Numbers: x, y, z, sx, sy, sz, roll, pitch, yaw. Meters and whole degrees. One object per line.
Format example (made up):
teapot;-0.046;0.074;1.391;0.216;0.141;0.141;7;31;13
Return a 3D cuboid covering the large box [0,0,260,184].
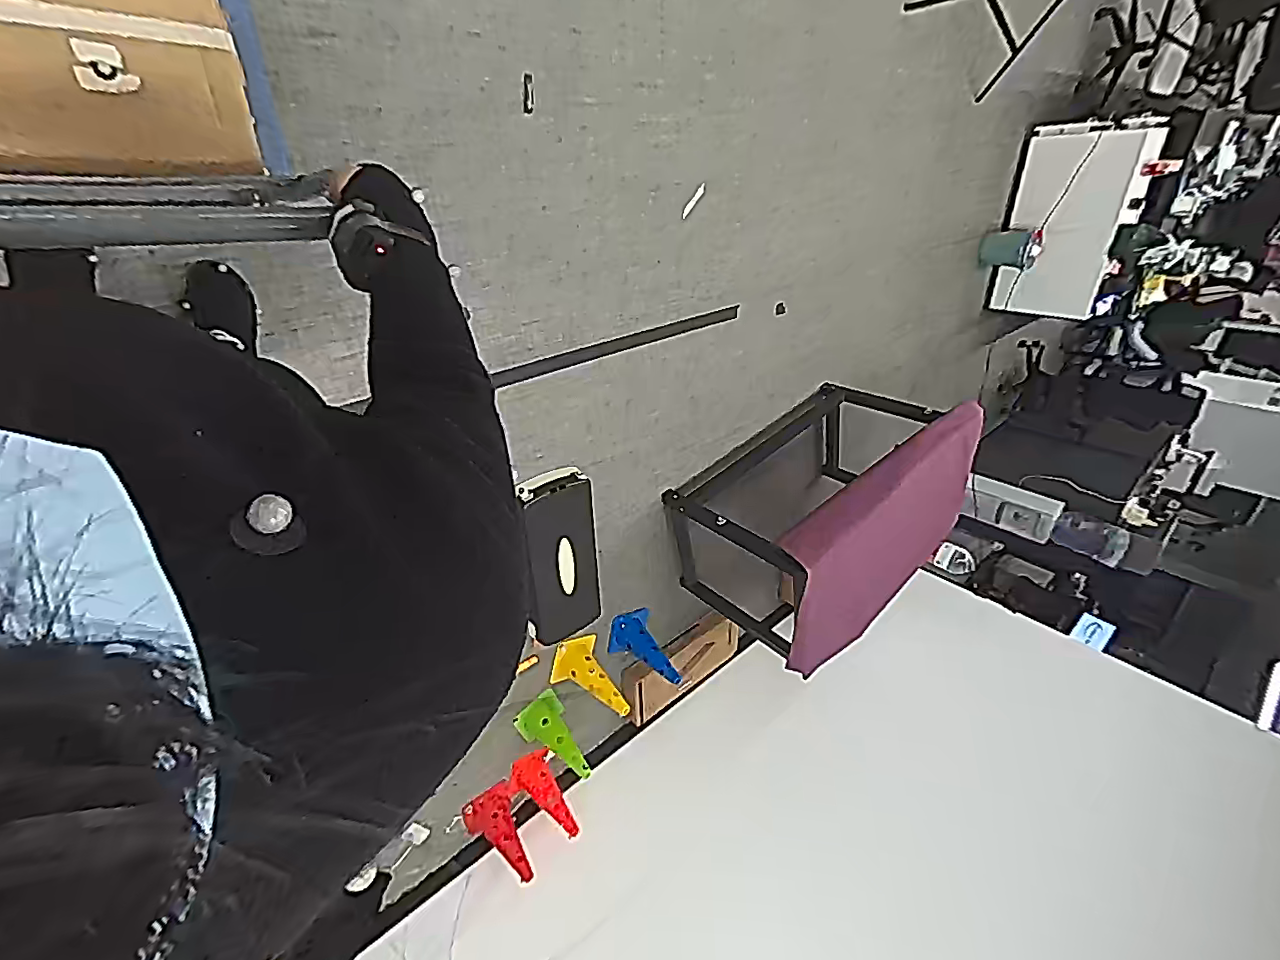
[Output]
large box;-0.785;-0.555;0.684;0.408;0.320;0.320;-21;125;-36
